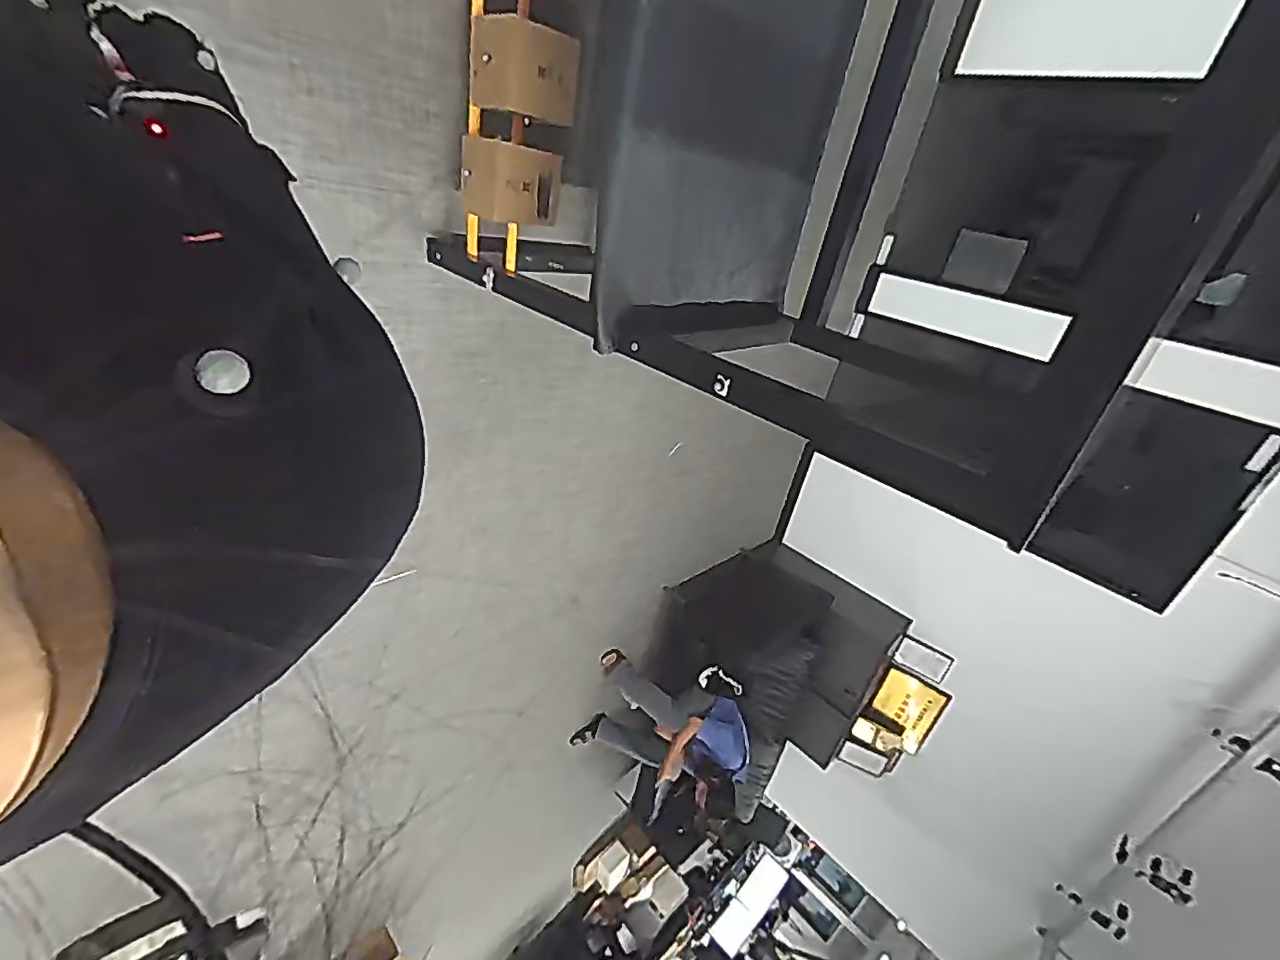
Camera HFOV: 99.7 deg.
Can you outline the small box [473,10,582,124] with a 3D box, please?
[{"bbox_3d":[-0.260,-0.927,1.224,0.179,0.176,0.168,-17,131,-42],"label":"small box"}]
